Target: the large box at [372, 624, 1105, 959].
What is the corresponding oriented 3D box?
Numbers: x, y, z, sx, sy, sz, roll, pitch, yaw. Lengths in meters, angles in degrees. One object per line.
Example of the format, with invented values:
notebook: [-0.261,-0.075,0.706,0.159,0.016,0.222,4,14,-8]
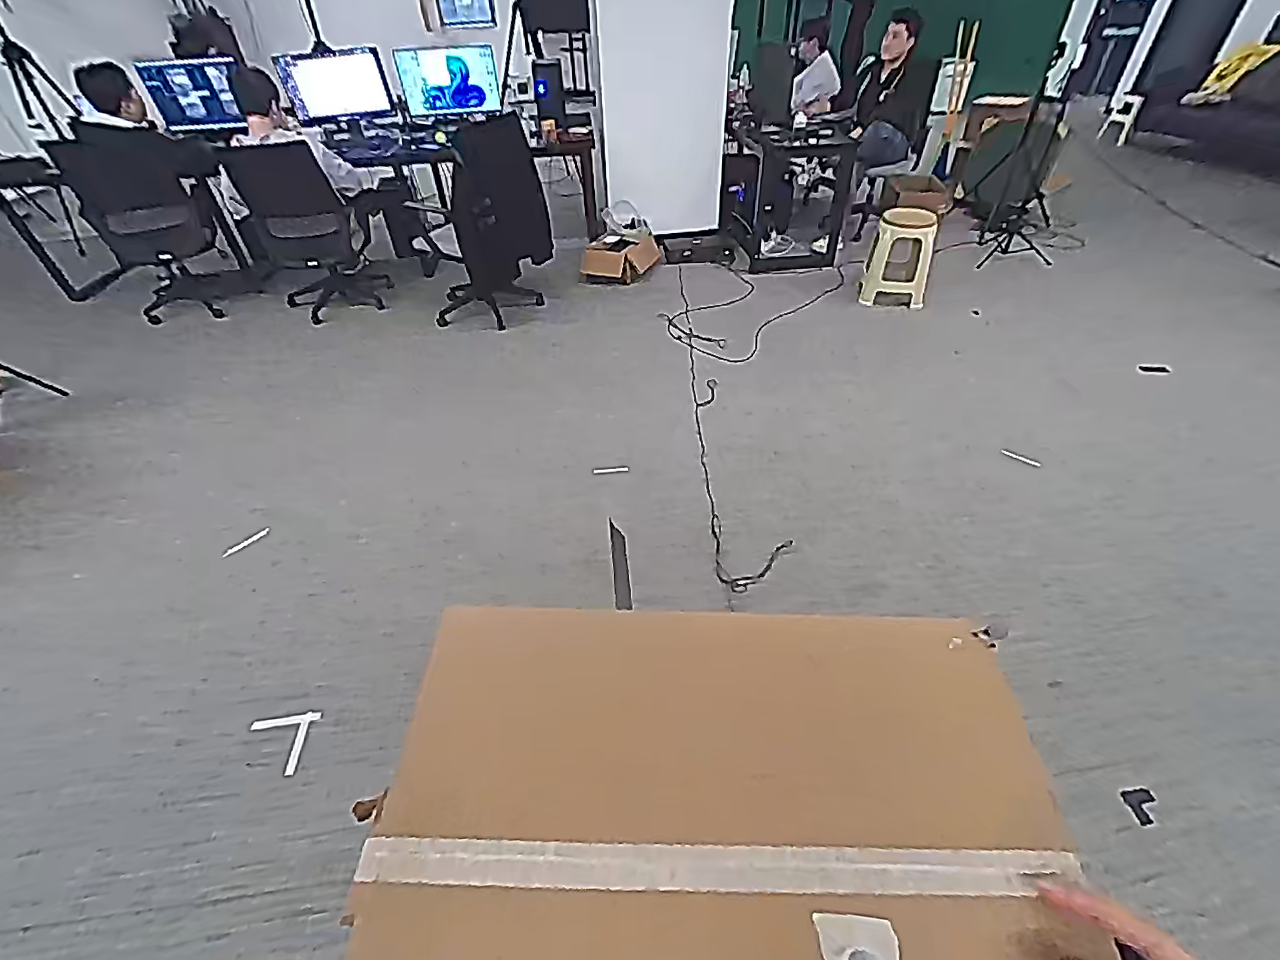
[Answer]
large box: [0.050,0.325,0.430,0.408,0.320,0.320,1,51,-1]
